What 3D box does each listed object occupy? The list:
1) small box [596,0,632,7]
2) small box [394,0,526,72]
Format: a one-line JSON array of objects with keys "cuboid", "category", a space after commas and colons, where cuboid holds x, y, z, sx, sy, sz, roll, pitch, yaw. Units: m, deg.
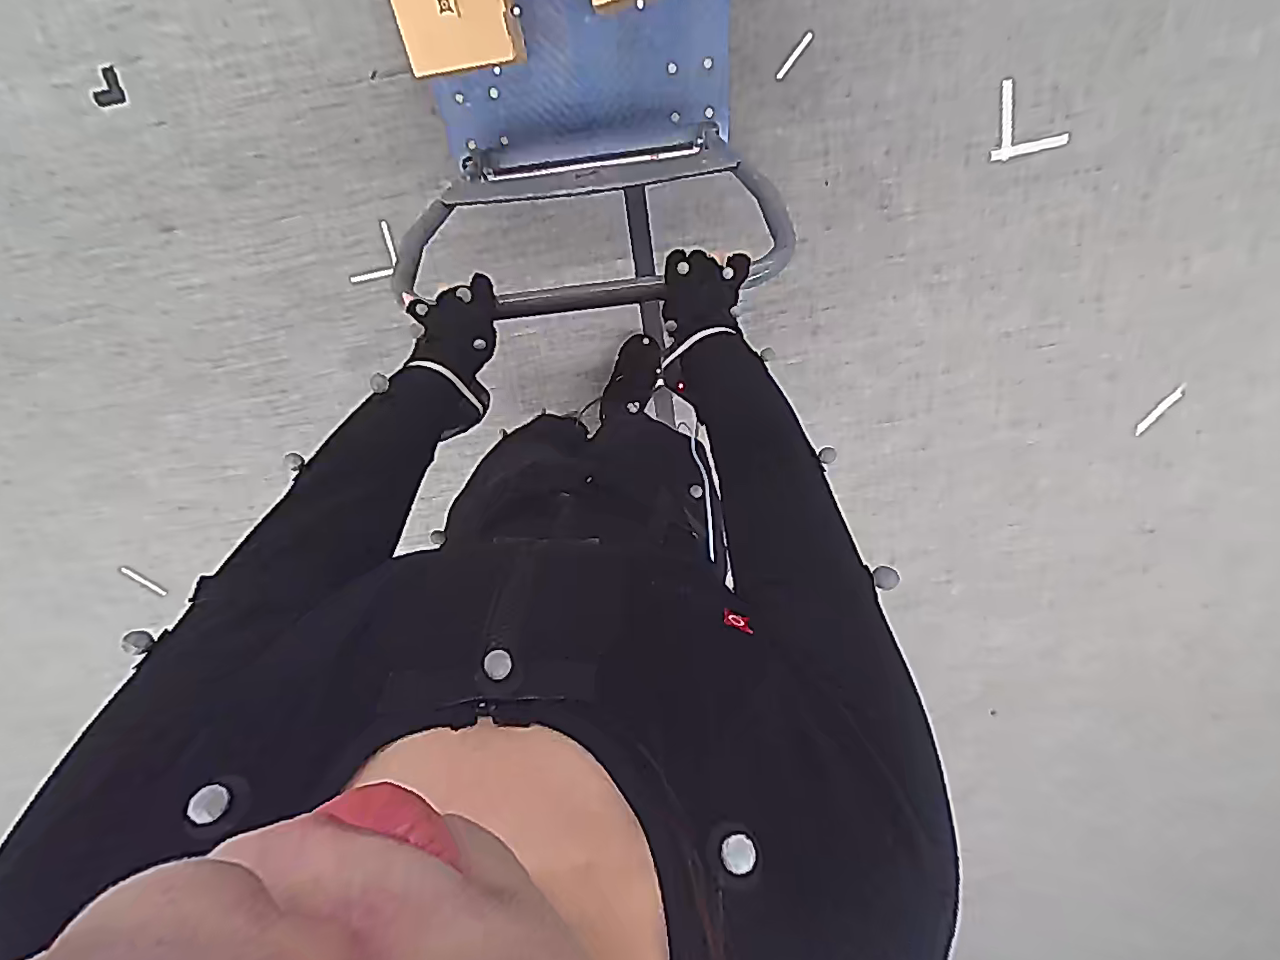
[{"cuboid": [-0.010, -0.892, 0.868, 0.179, 0.176, 0.168, -11, 127, 6], "category": "small box"}, {"cuboid": [-0.307, -0.809, 0.918, 0.179, 0.176, 0.168, -9, 126, 2], "category": "small box"}]
